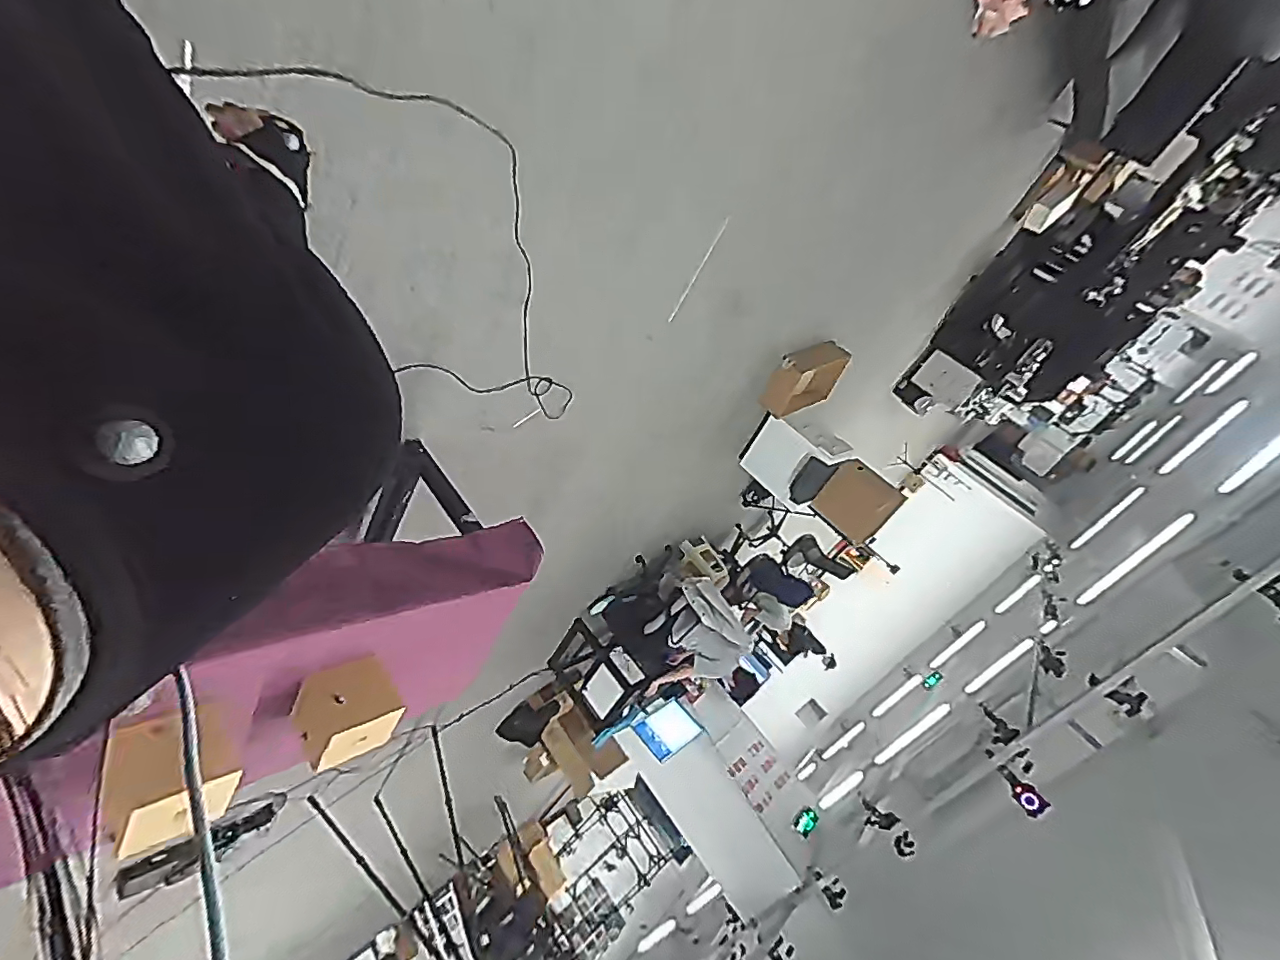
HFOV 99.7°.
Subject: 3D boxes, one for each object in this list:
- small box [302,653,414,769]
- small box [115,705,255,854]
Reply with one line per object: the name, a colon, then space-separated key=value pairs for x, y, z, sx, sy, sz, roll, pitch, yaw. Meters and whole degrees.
small box: x=-0.698 y=0.559 z=1.330 sx=0.179 sy=0.176 sz=0.168 roll=-5 pitch=135 yaw=-54
small box: x=-0.896 y=0.571 z=1.061 sx=0.168 sy=0.176 sz=0.179 roll=-3 pitch=133 yaw=-54
